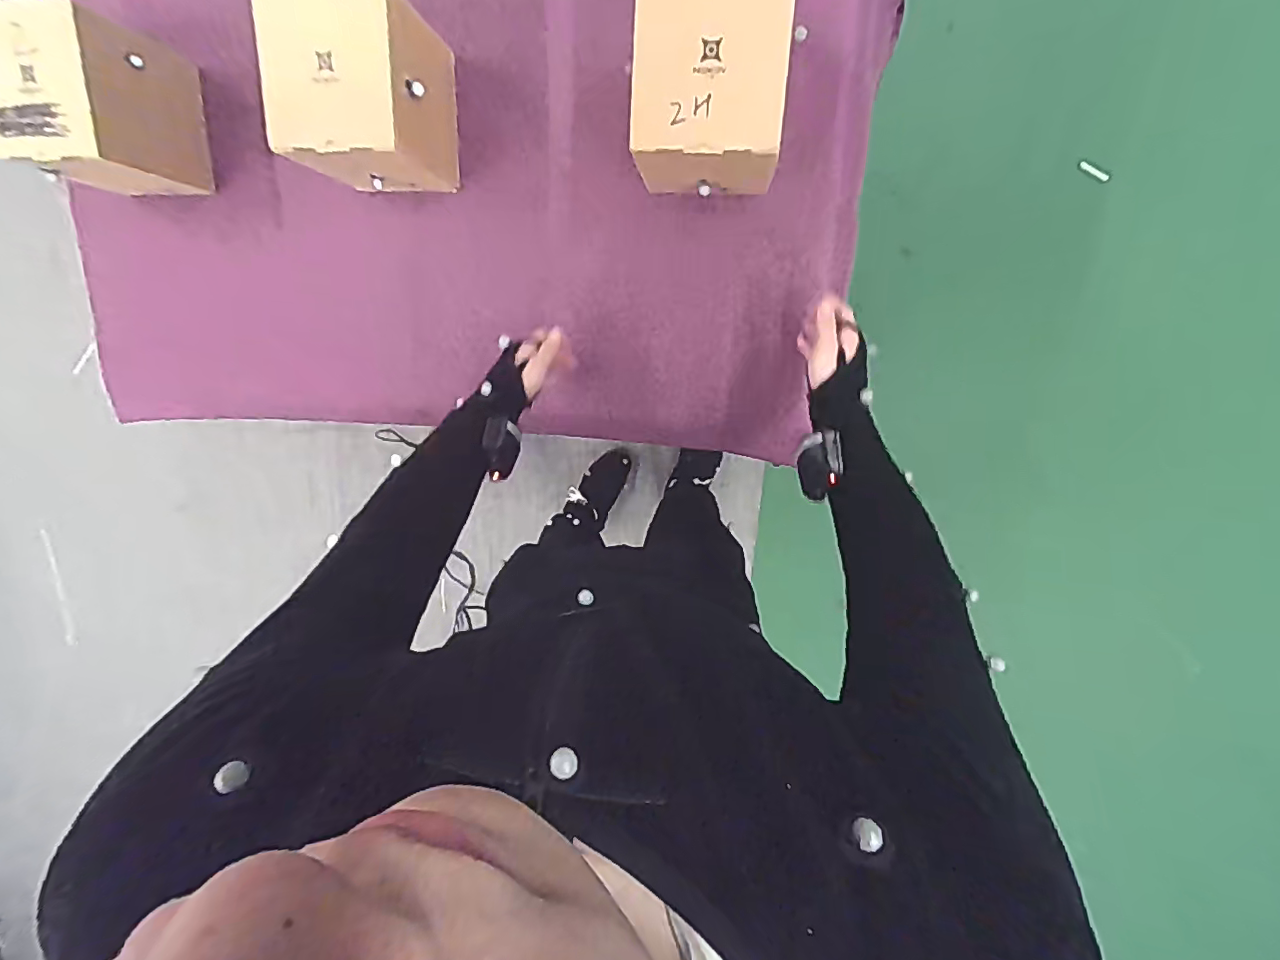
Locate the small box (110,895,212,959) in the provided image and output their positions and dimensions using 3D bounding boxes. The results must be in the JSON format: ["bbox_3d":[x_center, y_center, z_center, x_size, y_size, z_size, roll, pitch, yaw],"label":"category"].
[{"bbox_3d":[-1.566,1.523,1.769,0.179,0.176,0.168,-42,95,13],"label":"small box"}]

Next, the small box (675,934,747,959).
[{"bbox_3d":[0.204,1.435,1.521,0.179,0.176,0.168,42,106,-4],"label":"small box"}]

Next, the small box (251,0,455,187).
[{"bbox_3d":[-0.352,-0.497,0.694,0.168,0.176,0.179,4,105,6],"label":"small box"}]

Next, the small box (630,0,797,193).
[{"bbox_3d":[0.085,-0.463,0.644,0.168,0.176,0.179,5,105,7],"label":"small box"}]
